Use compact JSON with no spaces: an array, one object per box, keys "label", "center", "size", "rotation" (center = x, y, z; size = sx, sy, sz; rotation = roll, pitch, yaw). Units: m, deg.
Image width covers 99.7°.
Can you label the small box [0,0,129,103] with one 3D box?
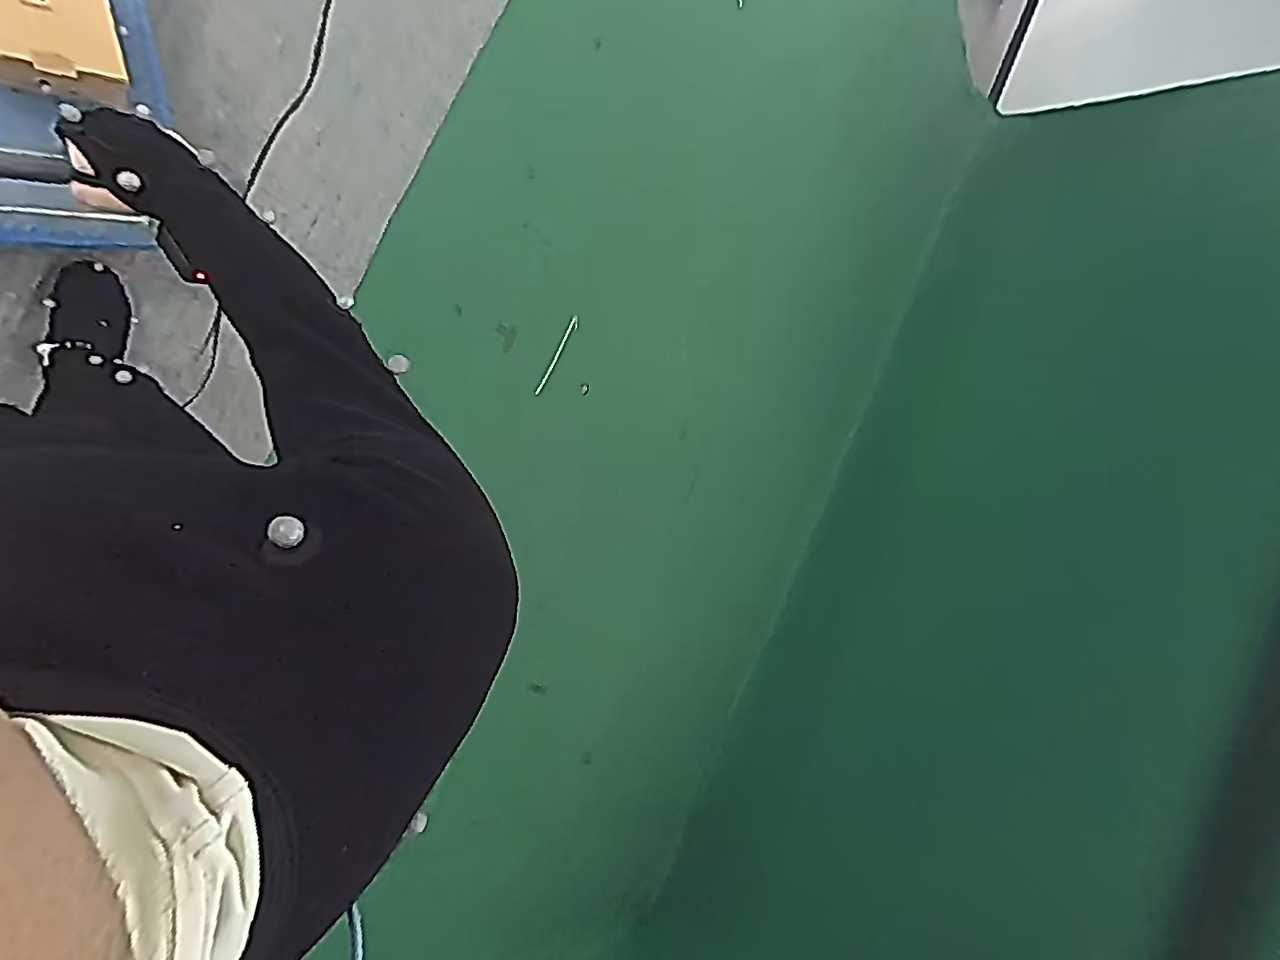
[{"label":"small box","center":[-0.913,-0.705,0.817],"size":[0.168,0.176,0.179],"rotation":[-18,118,-42]}]
